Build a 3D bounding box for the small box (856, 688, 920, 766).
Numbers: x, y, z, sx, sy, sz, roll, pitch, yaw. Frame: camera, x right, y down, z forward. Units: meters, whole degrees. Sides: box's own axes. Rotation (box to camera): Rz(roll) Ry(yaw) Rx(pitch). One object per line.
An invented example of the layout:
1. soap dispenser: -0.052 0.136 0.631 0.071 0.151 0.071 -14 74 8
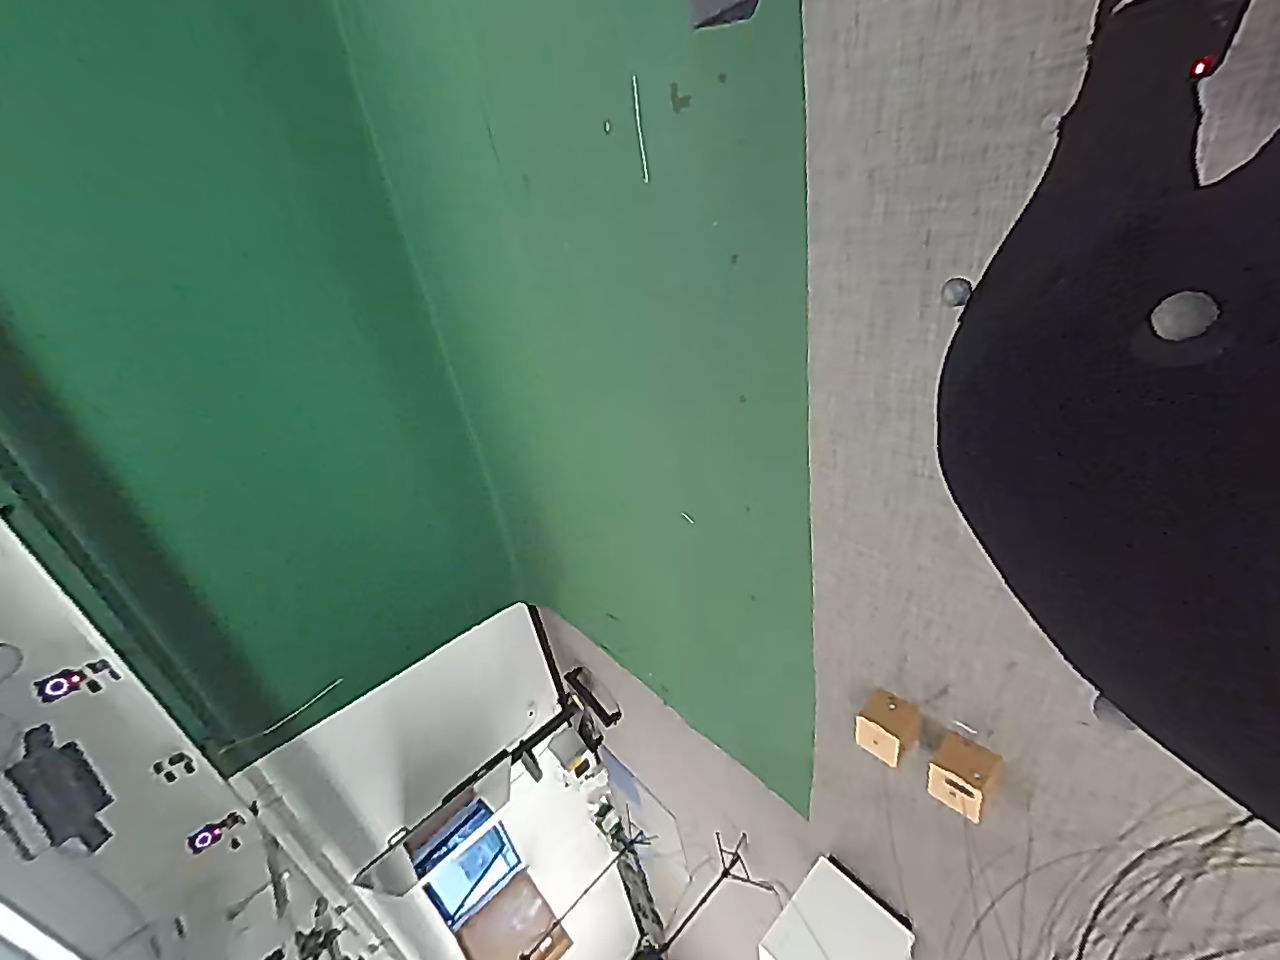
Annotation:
1. small box: 0.956 0.948 2.086 0.168 0.176 0.179 23 131 45
